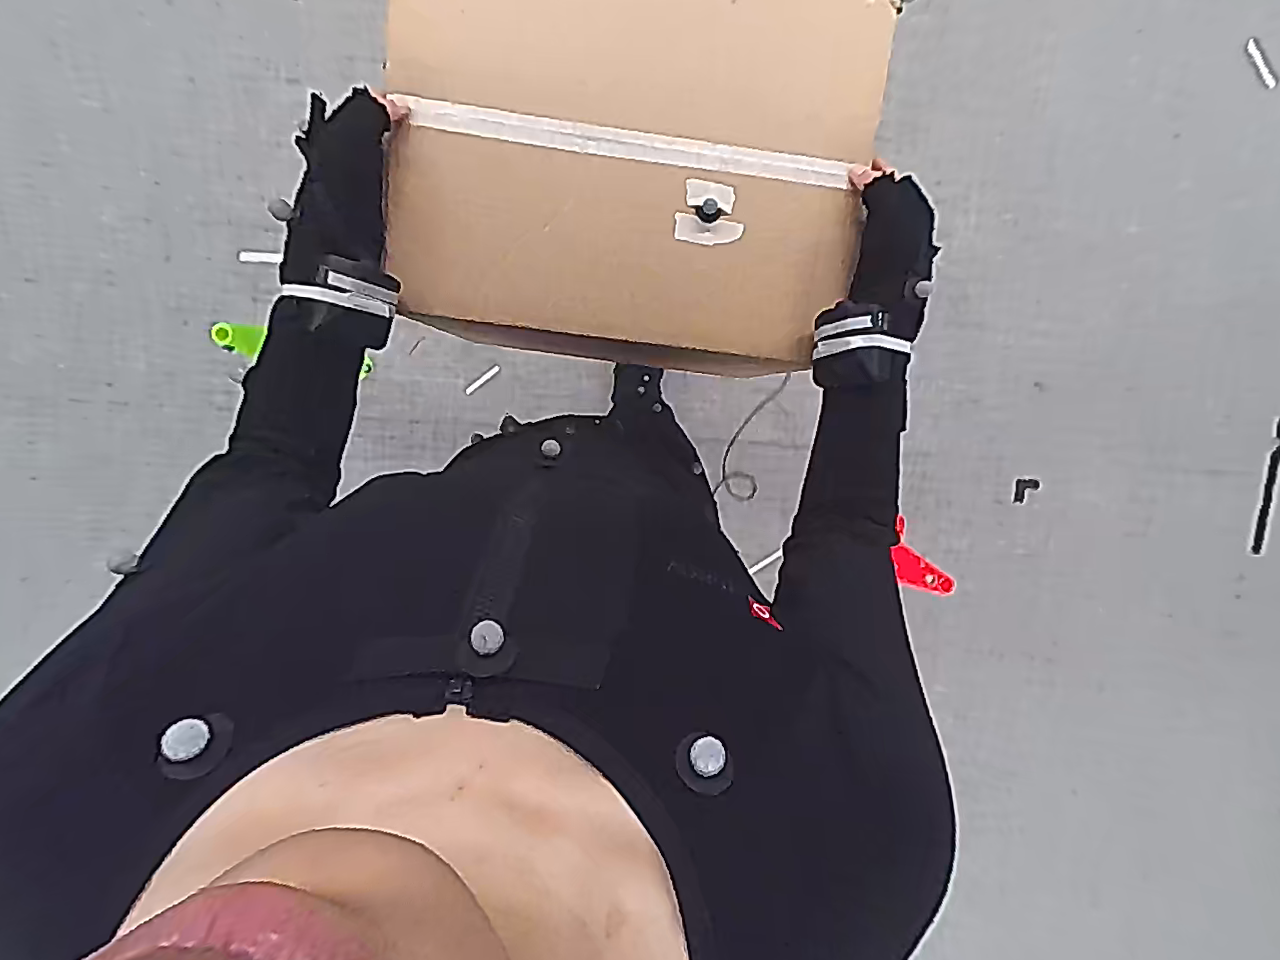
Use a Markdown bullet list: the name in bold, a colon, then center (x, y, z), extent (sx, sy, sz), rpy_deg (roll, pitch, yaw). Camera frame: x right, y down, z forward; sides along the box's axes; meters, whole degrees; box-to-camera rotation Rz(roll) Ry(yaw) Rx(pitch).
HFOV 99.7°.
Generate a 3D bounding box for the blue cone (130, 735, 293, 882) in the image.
- **blue cone**: center (-1.038, 0.803, 1.308), extent (0.192, 0.380, 0.193), rpy_deg (7, 95, -2)

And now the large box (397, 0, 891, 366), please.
- **large box**: center (-0.010, -0.311, 0.604), extent (0.408, 0.320, 0.320), rpy_deg (6, 99, -5)

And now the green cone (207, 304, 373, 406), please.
- **green cone**: center (-0.802, -0.298, 1.199), extent (0.202, 0.368, 0.200), rpy_deg (-33, 95, 2)
